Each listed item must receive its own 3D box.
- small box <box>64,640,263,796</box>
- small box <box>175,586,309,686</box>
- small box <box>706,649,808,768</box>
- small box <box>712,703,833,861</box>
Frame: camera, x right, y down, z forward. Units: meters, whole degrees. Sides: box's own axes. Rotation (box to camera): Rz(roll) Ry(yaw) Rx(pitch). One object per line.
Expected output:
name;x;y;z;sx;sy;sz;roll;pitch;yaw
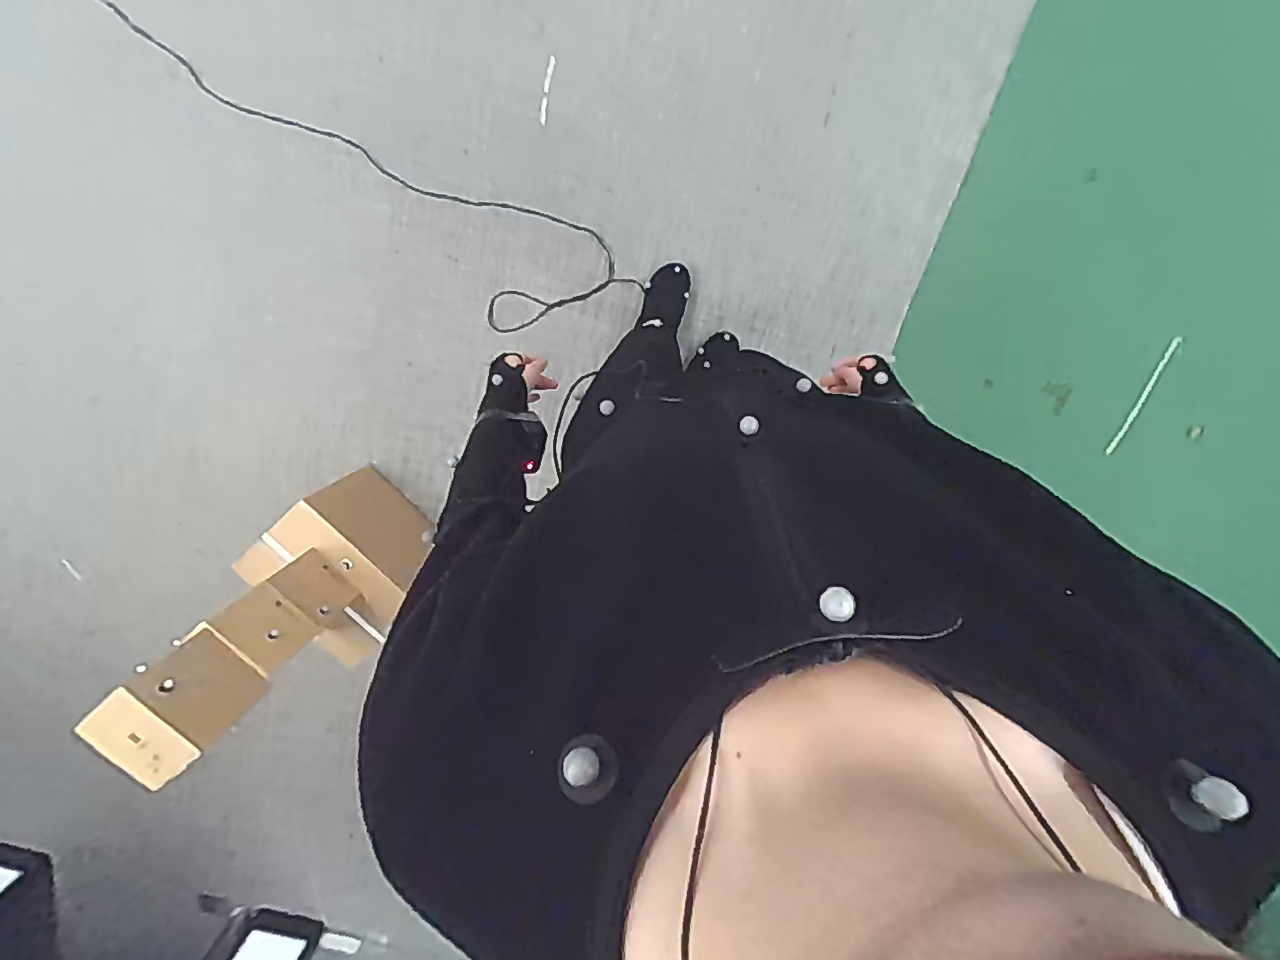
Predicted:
small box;-0.854;0.420;0.986;0.168;0.176;0.179;-36;102;16
small box;-0.844;0.357;1.139;0.179;0.176;0.168;-38;101;16
small box;0.226;0.459;1.092;0.179;0.176;0.168;2;107;4
small box;0.217;0.511;0.936;0.179;0.176;0.168;3;108;5
